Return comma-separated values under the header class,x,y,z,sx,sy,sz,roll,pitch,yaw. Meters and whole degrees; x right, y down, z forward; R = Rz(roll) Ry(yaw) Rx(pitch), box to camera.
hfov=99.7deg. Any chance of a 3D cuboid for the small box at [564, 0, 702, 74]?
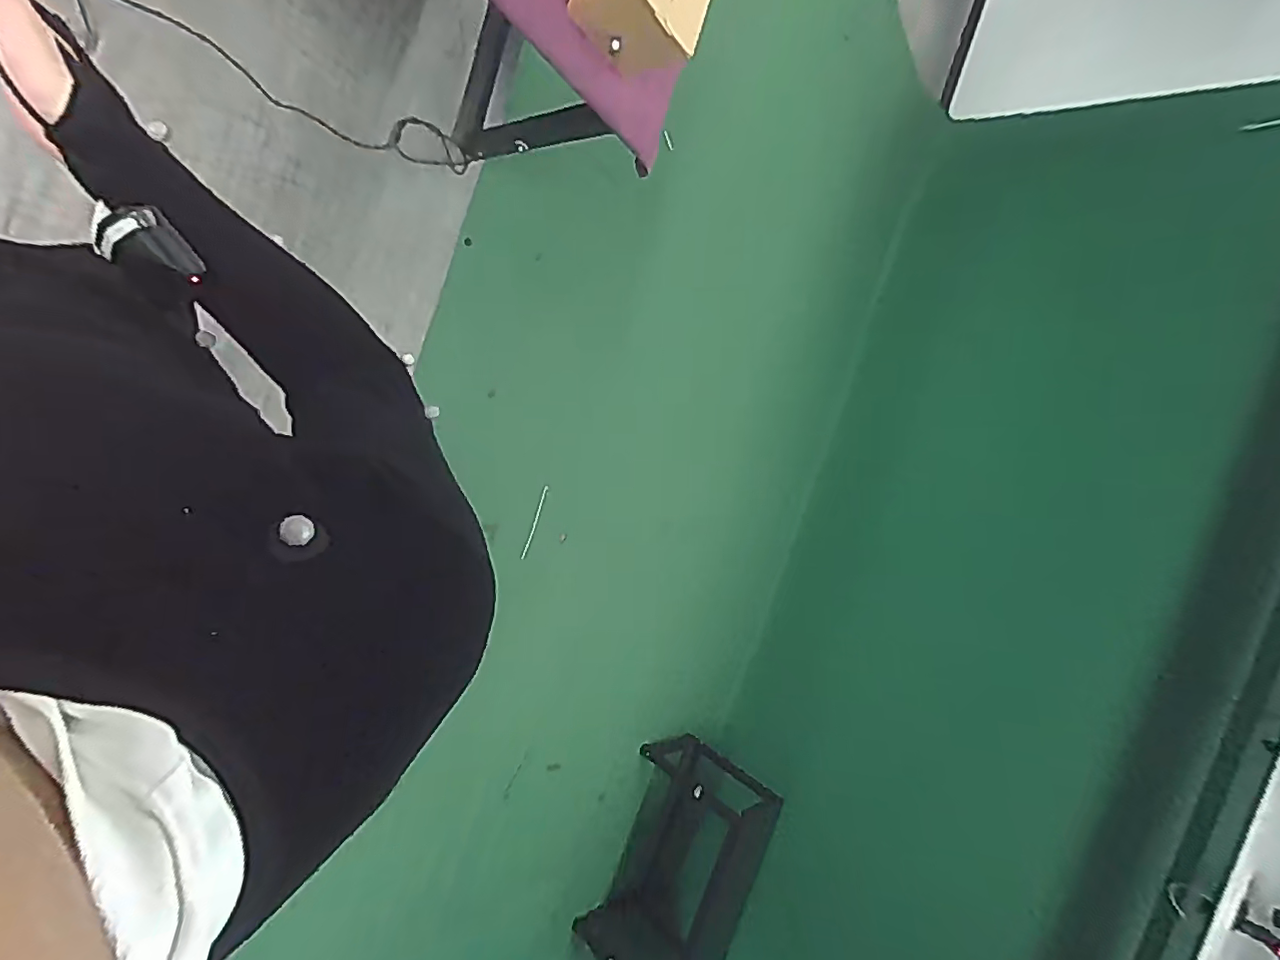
class,x,y,z,sx,sy,sz,roll,pitch,yaw
small box,-0.007,-0.866,0.949,0.168,0.176,0.179,14,96,-51
